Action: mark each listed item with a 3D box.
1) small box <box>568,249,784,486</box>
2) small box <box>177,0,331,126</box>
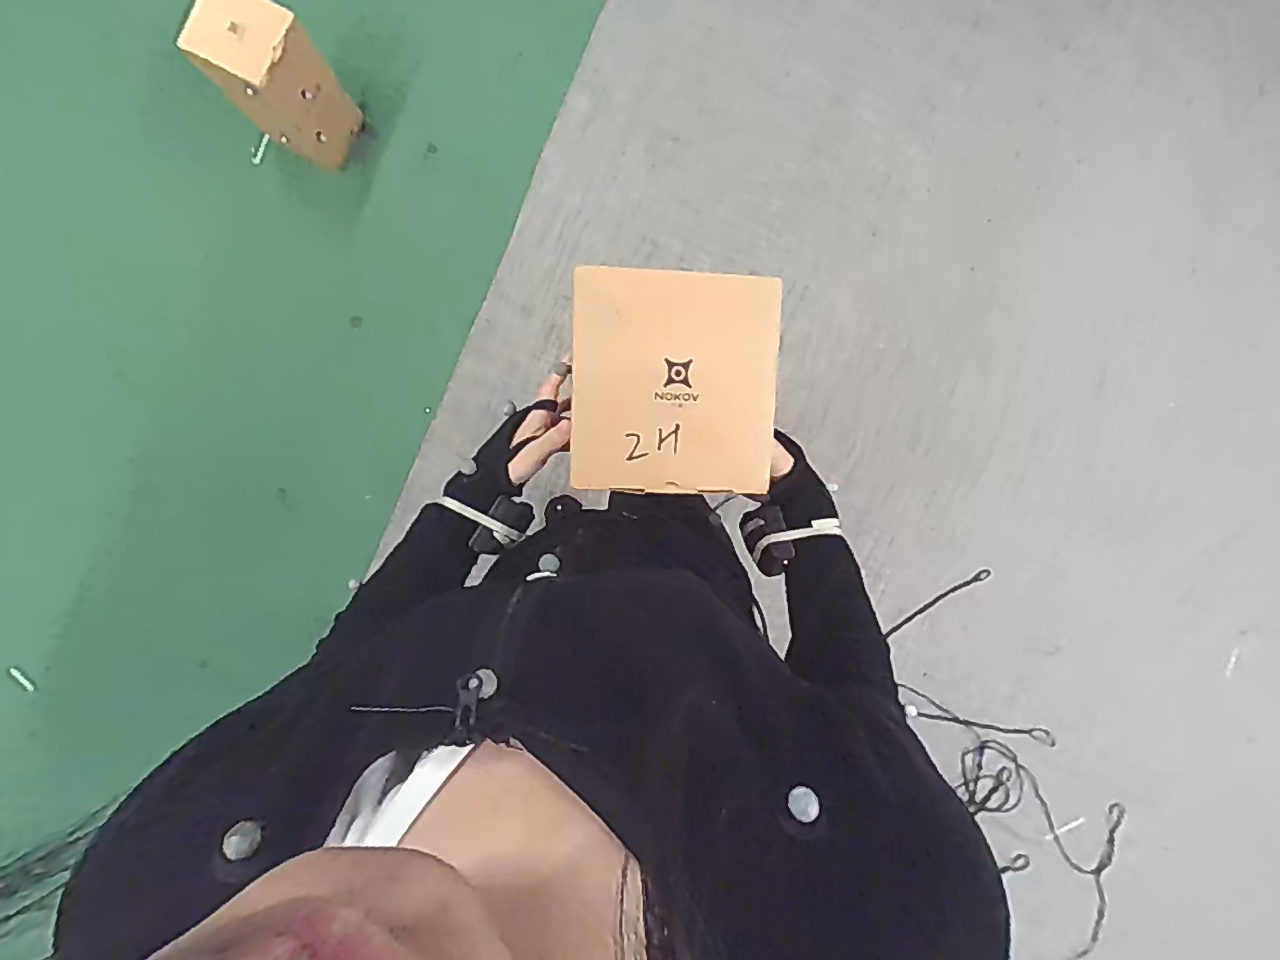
[{"bbox_3d":[0.019,-0.093,0.500,0.168,0.176,0.179,2,97,-6],"label":"small box"},{"bbox_3d":[-0.805,-0.902,1.147,0.179,0.176,0.168,25,90,-5],"label":"small box"}]
